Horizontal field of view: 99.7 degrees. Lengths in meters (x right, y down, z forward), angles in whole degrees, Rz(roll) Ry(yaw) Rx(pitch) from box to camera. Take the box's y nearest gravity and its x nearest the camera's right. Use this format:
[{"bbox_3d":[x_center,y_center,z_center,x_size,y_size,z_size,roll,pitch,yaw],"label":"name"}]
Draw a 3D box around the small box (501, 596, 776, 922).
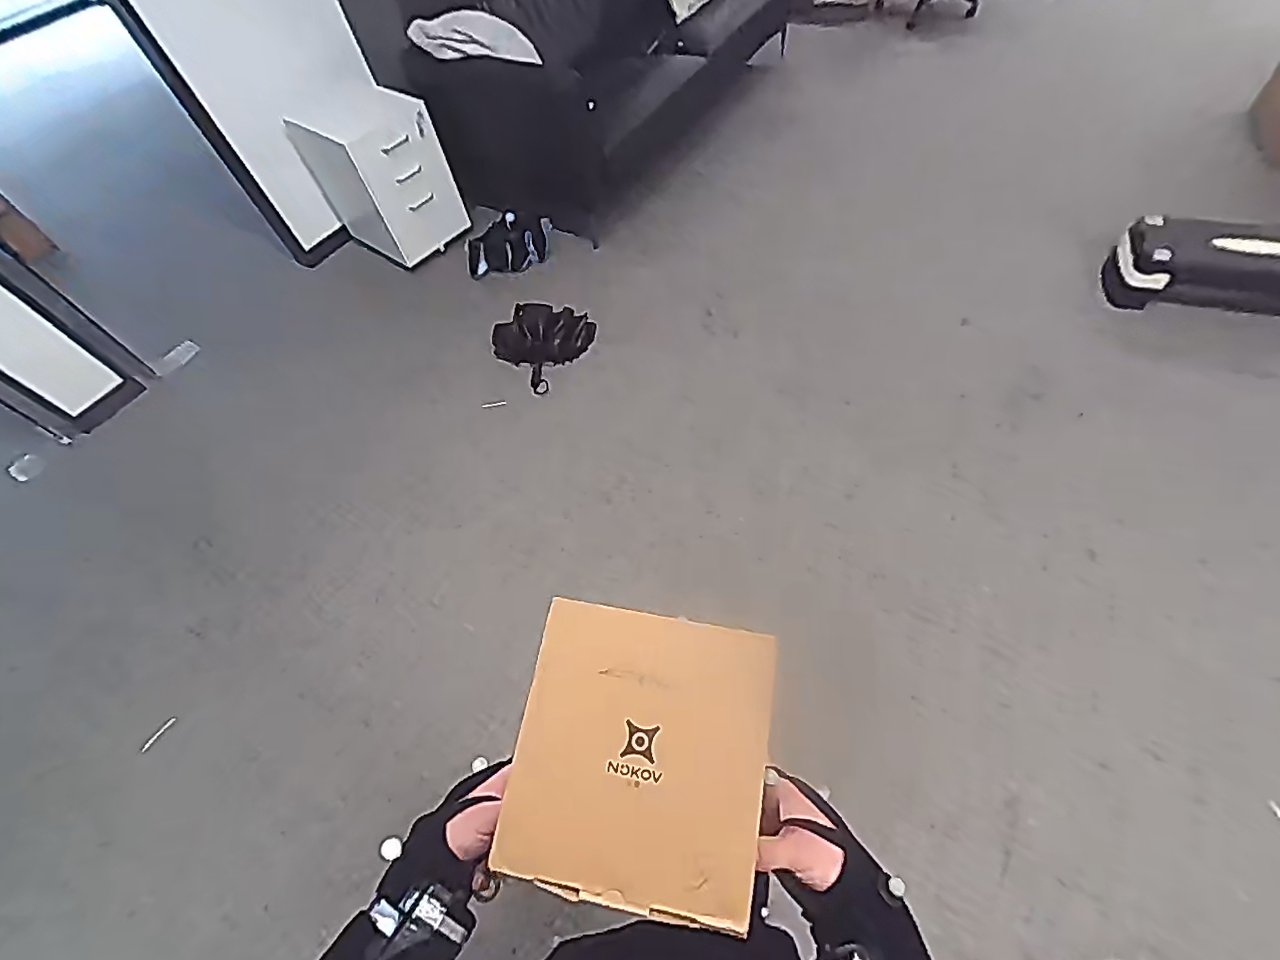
[{"bbox_3d":[0.009,0.207,0.440,0.168,0.176,0.179,8,69,7],"label":"small box"}]
